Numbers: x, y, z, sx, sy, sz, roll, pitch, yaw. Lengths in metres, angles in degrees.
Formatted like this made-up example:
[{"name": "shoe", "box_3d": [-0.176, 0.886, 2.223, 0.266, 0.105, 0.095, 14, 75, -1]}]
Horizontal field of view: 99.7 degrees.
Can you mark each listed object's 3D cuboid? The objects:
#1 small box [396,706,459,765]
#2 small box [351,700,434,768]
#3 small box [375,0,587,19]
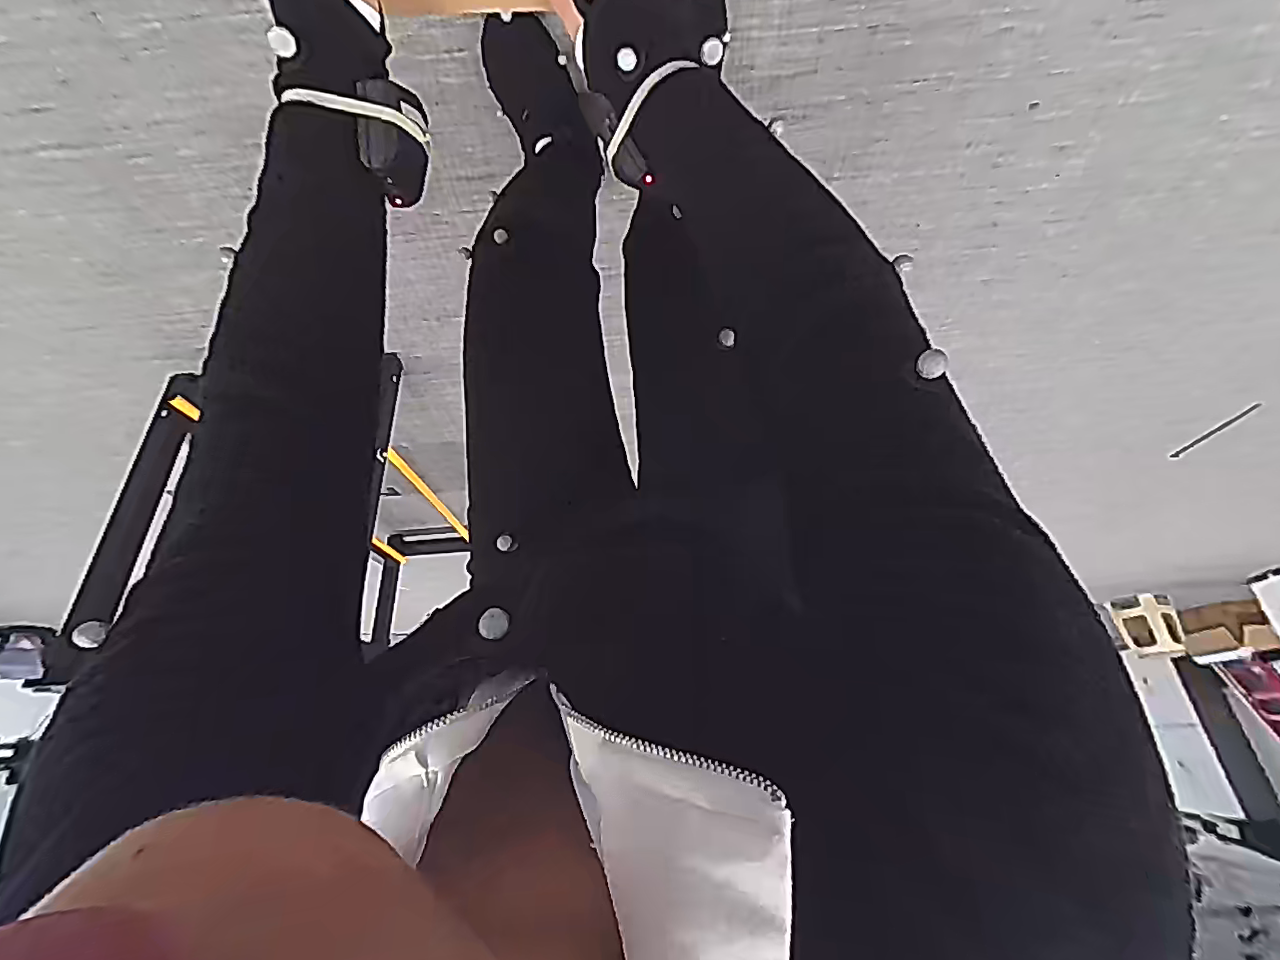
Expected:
[{"name": "small box", "box_3d": [-0.722, 0.859, 1.820, 0.168, 0.176, 0.179, -4, 153, 1]}, {"name": "small box", "box_3d": [-0.727, 0.754, 1.612, 0.179, 0.176, 0.168, -4, 153, 0]}, {"name": "small box", "box_3d": [-0.128, -0.479, 0.385, 0.168, 0.176, 0.179, -3, 157, -1]}]
